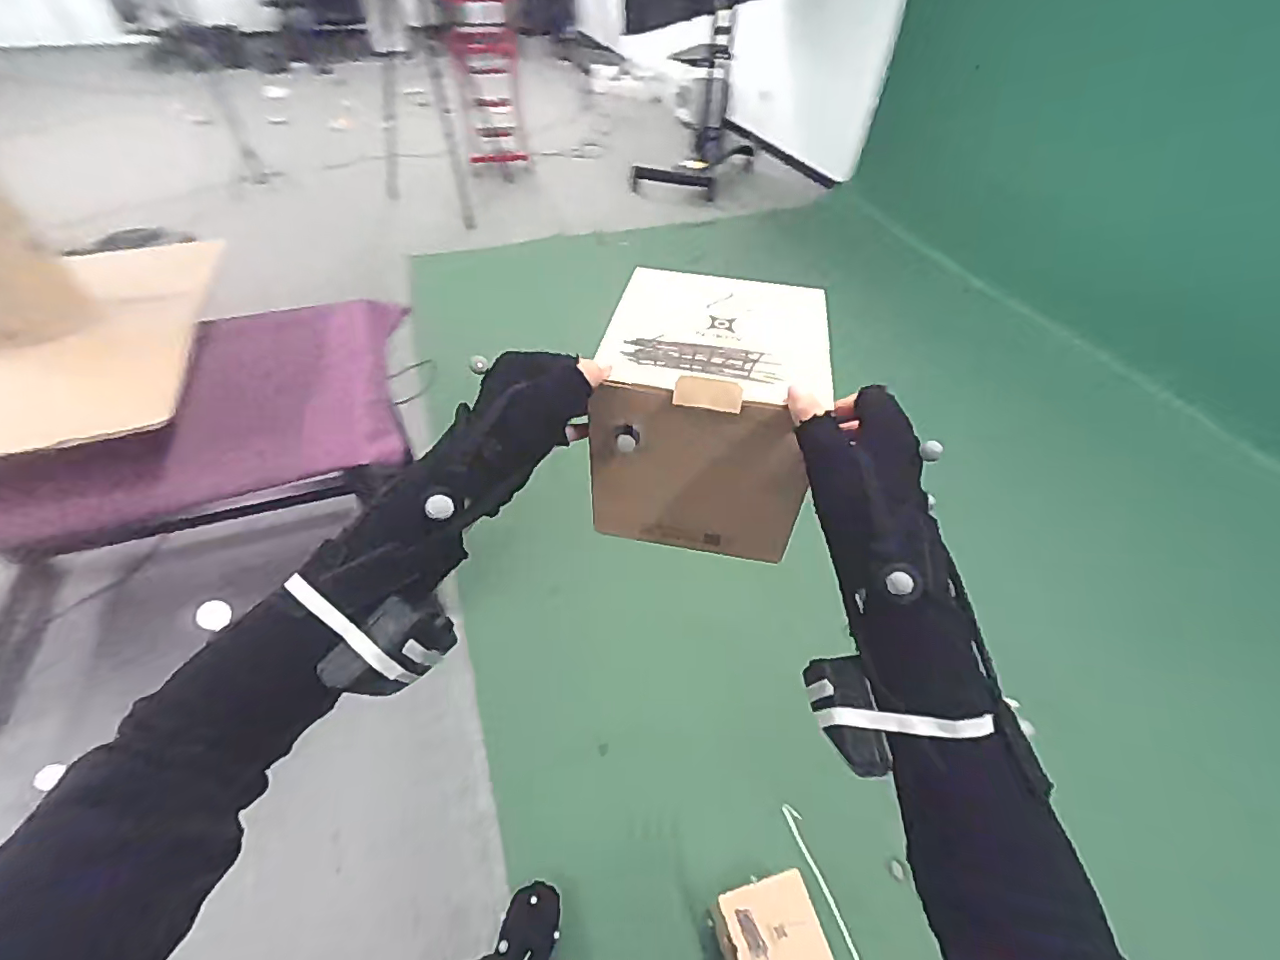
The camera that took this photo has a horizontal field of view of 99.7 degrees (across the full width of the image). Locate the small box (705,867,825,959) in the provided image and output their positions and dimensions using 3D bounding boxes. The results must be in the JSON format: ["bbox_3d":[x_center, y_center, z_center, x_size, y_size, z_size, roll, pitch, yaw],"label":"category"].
[{"bbox_3d":[0.238,0.909,1.078,0.179,0.176,0.168,-14,50,-13],"label":"small box"}]
